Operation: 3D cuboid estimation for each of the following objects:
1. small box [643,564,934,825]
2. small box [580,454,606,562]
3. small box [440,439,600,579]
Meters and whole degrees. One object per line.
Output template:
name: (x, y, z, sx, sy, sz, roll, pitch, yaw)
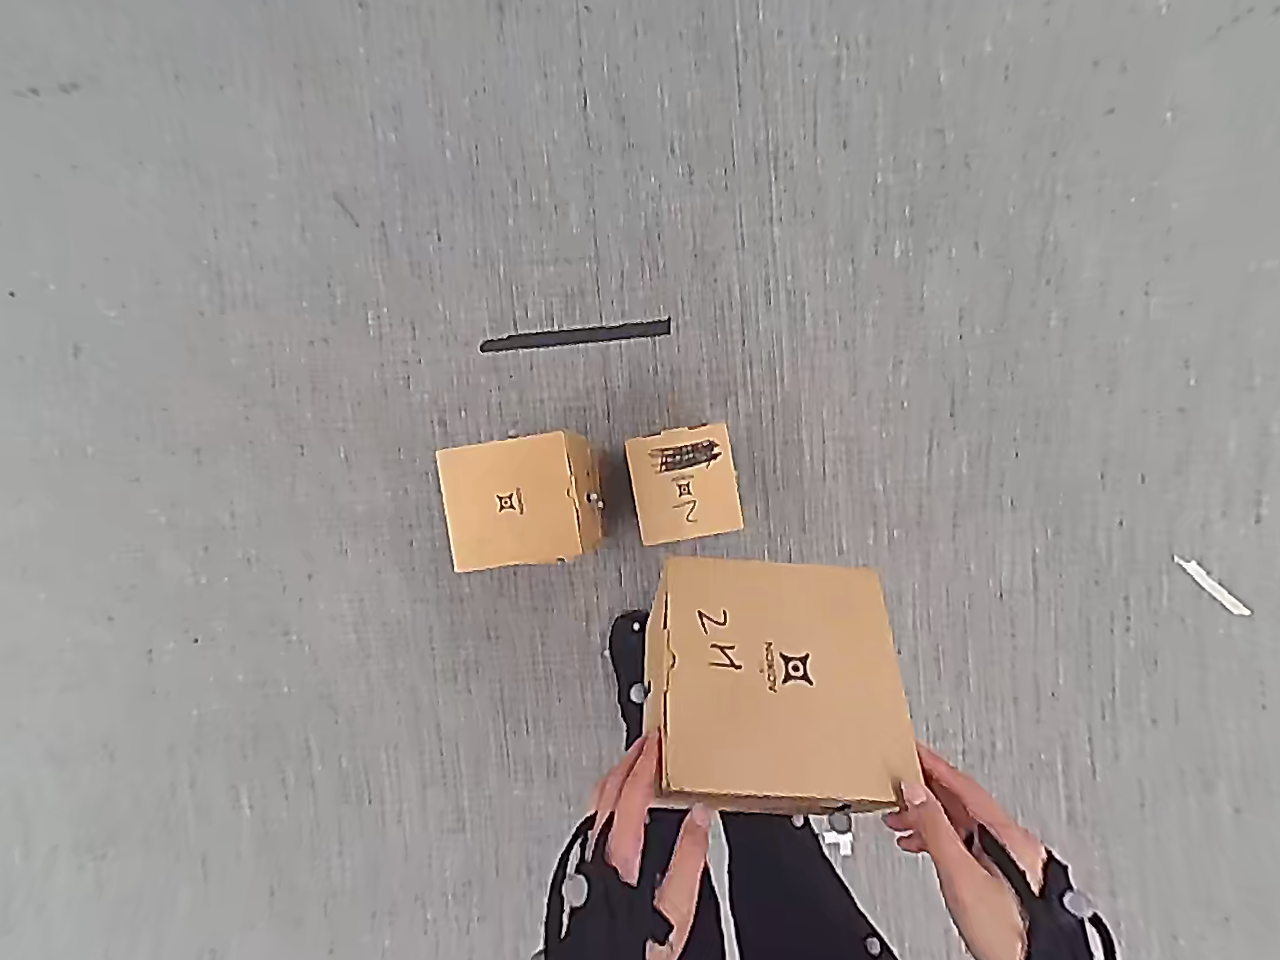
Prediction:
small box: (0.100, 0.185, 0.451, 0.179, 0.176, 0.168, 4, 55, -2)
small box: (-0.152, 0.045, 0.949, 0.168, 0.176, 0.179, -2, 90, 3)
small box: (-0.163, 0.038, 0.786, 0.179, 0.176, 0.168, -9, 90, 2)
